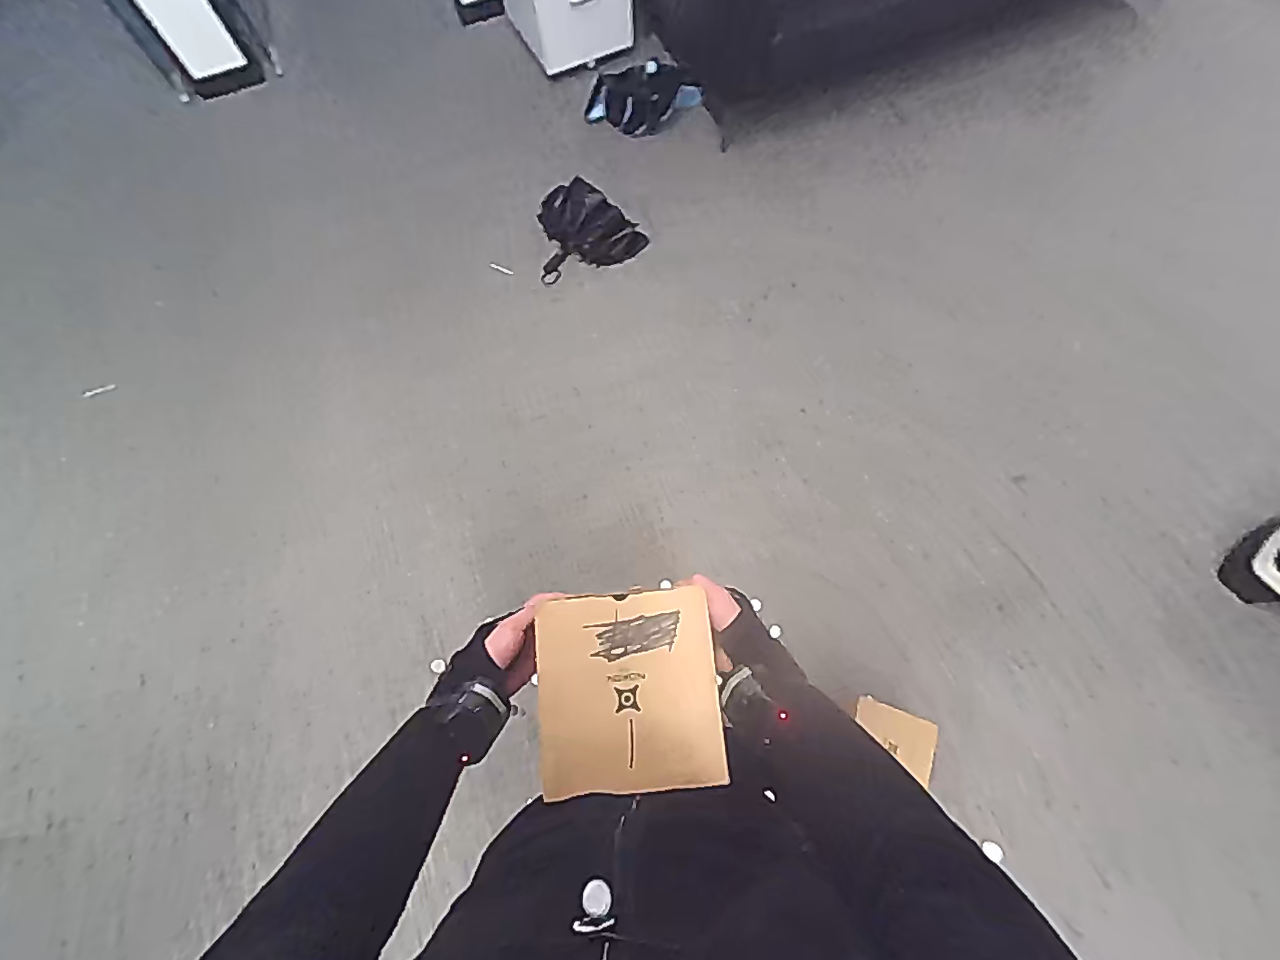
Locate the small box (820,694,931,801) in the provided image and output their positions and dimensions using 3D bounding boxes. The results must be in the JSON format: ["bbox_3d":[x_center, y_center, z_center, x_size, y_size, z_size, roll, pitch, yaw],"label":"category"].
[{"bbox_3d":[0.539,0.614,1.257,0.179,0.176,0.168,19,70,9],"label":"small box"}]
